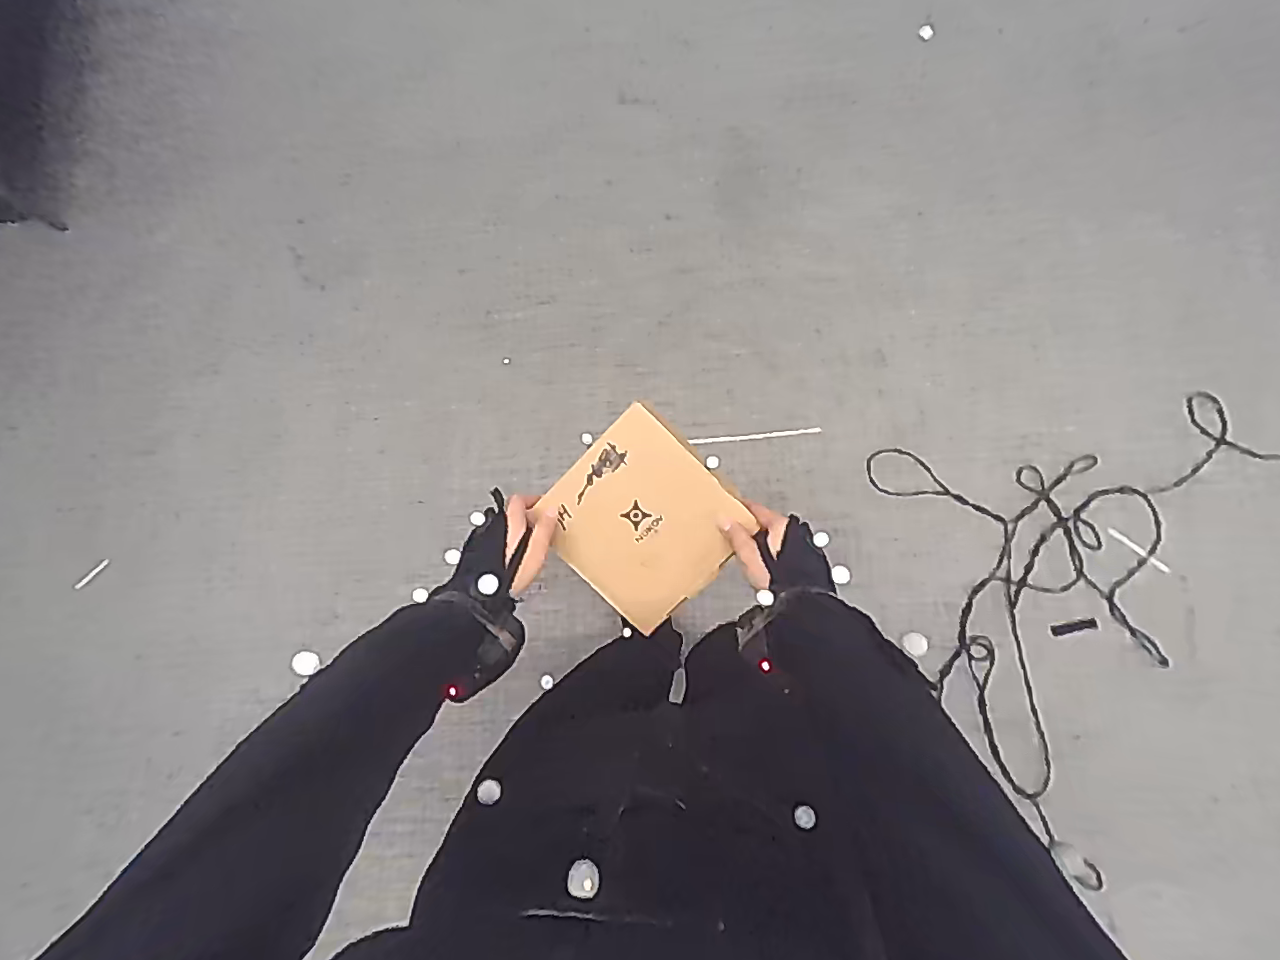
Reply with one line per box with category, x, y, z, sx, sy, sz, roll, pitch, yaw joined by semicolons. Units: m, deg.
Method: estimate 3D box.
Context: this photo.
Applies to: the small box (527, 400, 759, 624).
small box;0.007;0.022;0.617;0.168;0.176;0.179;-44;94;8
